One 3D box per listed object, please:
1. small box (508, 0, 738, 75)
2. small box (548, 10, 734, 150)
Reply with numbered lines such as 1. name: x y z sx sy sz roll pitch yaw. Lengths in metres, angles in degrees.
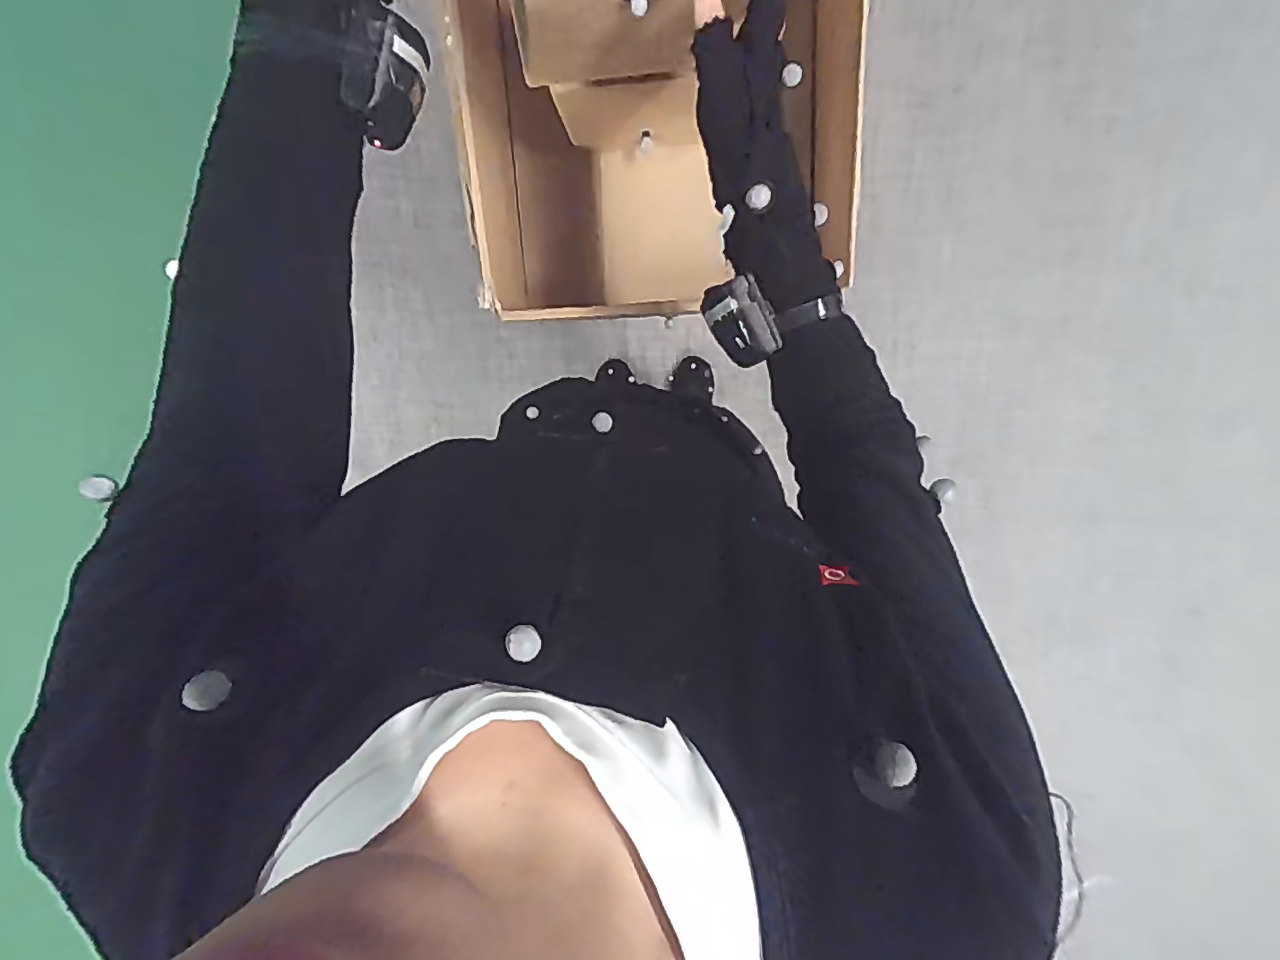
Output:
1. small box: -0.015 -0.418 0.378 0.179 0.176 0.168 -14 106 -10
2. small box: -0.002 -0.468 0.564 0.179 0.176 0.168 -3 103 3
